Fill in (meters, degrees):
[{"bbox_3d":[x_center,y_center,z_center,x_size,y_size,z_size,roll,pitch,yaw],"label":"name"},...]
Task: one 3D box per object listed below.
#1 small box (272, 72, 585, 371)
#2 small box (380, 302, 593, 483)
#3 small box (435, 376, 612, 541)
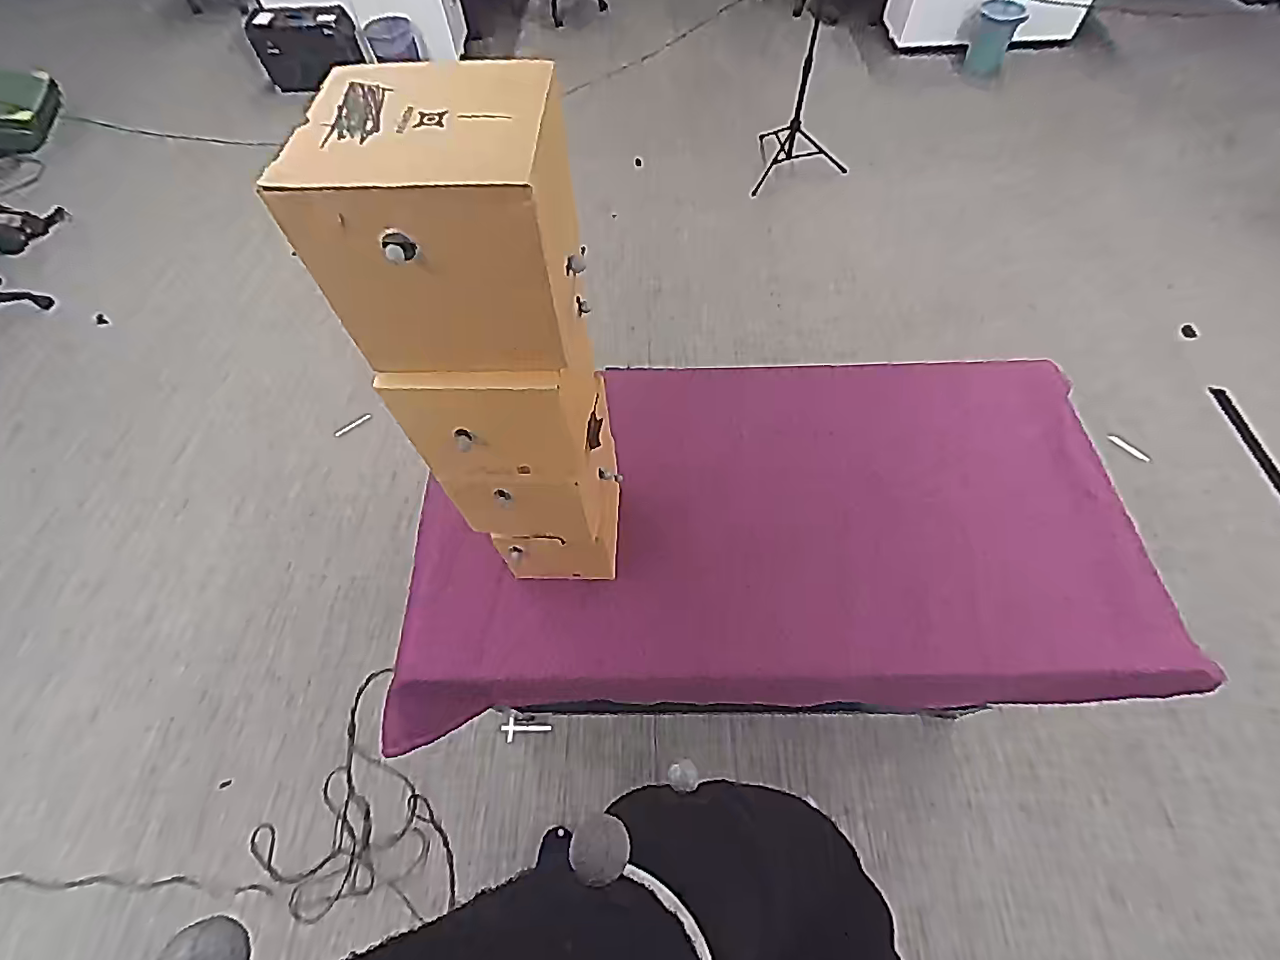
[{"bbox_3d":[-0.147,-0.206,0.452,0.179,0.176,0.168,0,59,1],"label":"small box"},{"bbox_3d":[-0.144,-0.109,0.585,0.168,0.176,0.179,1,59,2],"label":"small box"},{"bbox_3d":[-0.141,-0.030,0.728,0.179,0.176,0.168,6,60,5],"label":"small box"}]
